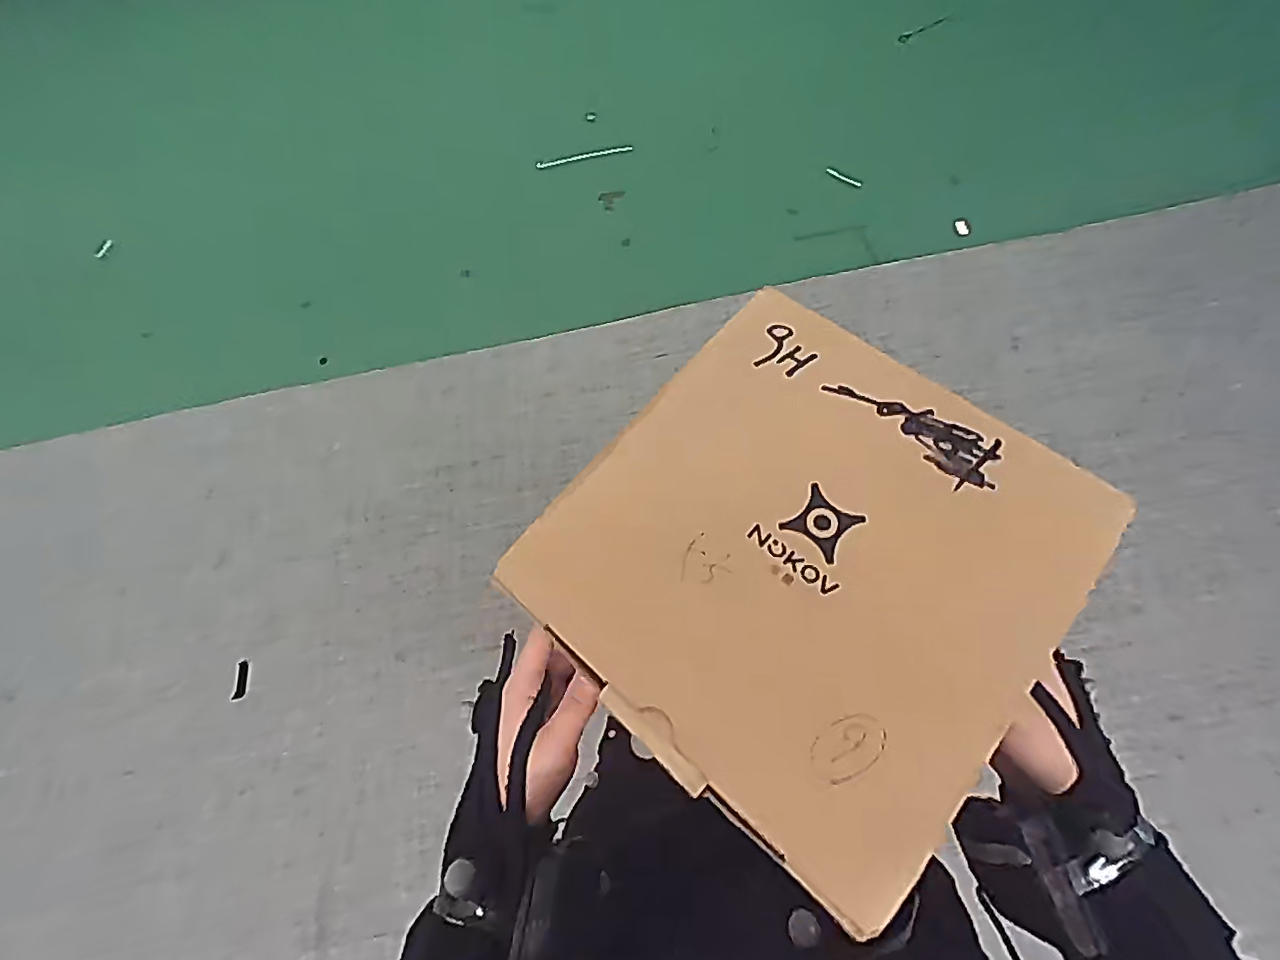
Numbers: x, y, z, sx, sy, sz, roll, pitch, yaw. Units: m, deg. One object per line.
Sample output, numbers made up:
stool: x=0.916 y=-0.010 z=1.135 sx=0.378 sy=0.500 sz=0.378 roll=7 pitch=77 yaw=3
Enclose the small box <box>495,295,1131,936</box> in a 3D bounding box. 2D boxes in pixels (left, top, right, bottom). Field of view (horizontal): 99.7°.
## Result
small box: x=0.067 y=0.055 z=0.272 sx=0.168 sy=0.176 sz=0.179 roll=38 pitch=76 yaw=19
